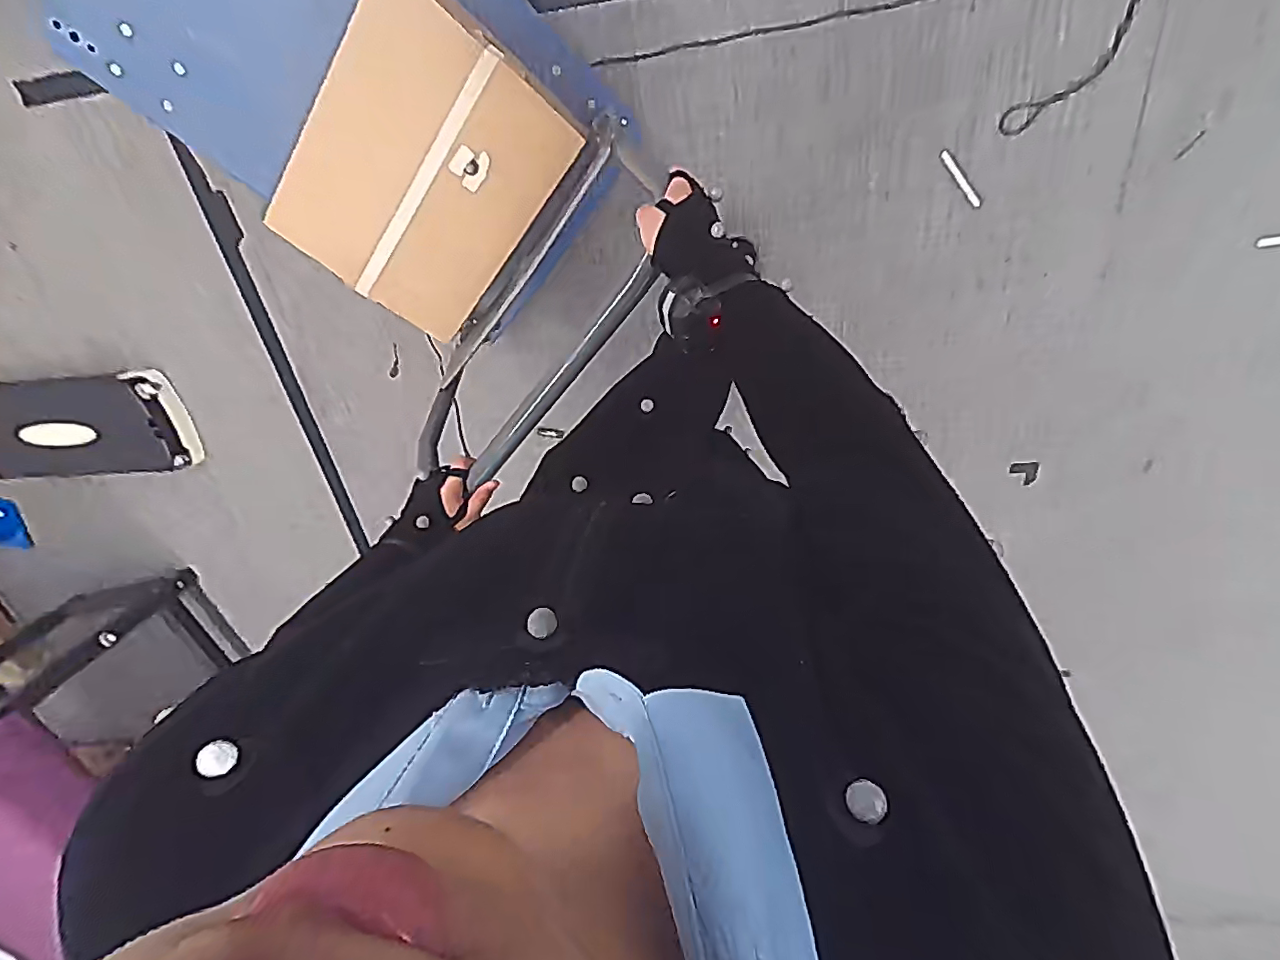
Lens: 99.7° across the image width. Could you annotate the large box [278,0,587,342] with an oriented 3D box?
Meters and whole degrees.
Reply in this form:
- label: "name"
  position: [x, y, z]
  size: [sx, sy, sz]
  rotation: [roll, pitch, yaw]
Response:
- label: "large box"
  position: [-0.330, -0.527, 0.933]
  size: [0.320, 0.320, 0.408]
  rotation: [33, 116, -25]
